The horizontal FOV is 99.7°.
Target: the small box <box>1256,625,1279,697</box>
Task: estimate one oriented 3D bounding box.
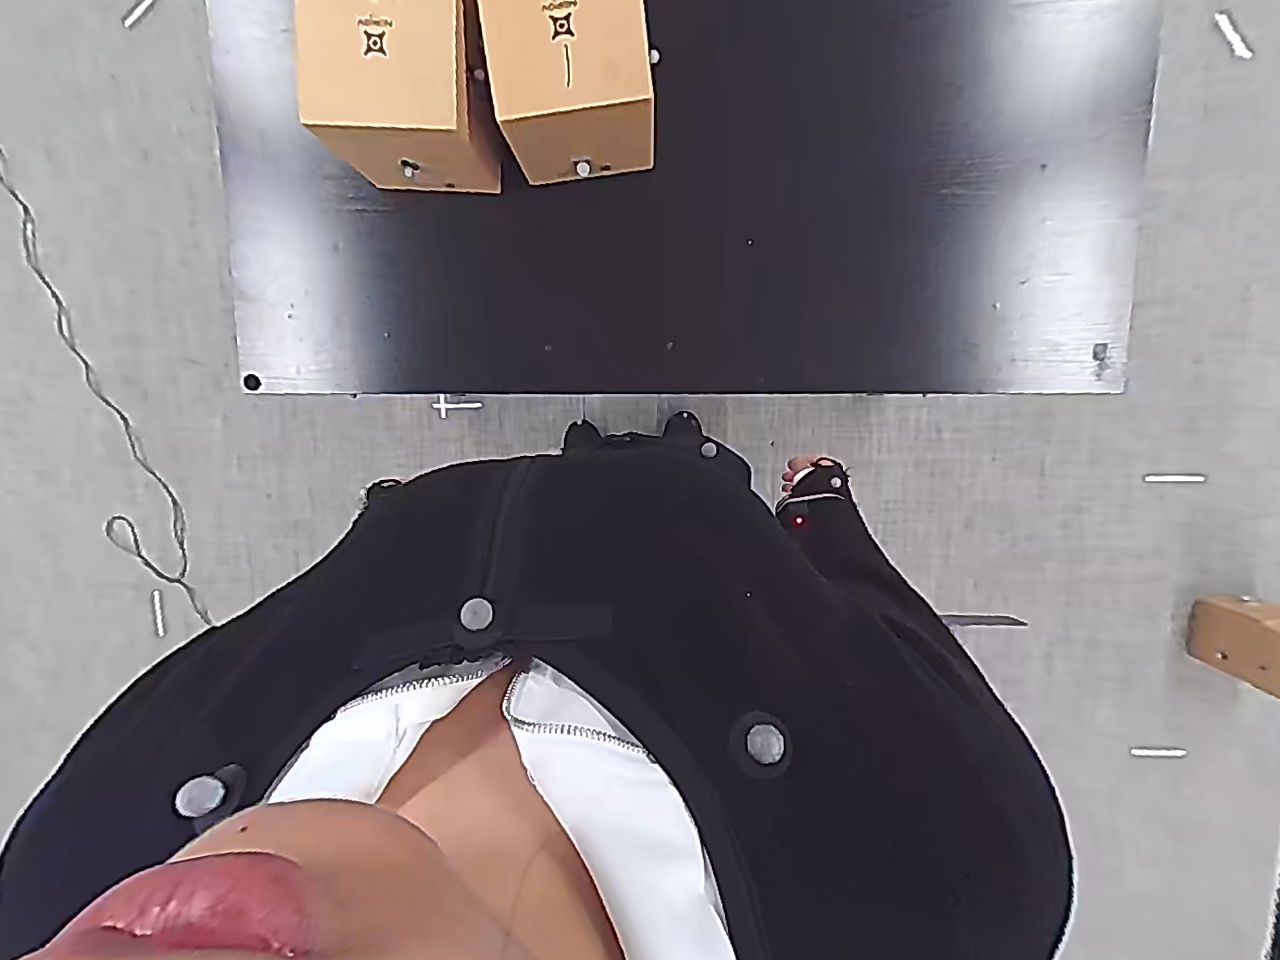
[{"bbox_3d":[1.614,0.443,1.251,0.179,0.176,0.168,-2,98,1],"label":"small box"}]

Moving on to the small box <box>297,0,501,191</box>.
[{"bbox_3d":[-0.265,-0.458,0.628,0.168,0.176,0.179,2,97,0],"label":"small box"}]

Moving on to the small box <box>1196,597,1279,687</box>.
[{"bbox_3d":[1.620,0.420,1.414,0.168,0.176,0.179,-1,97,1],"label":"small box"}]
